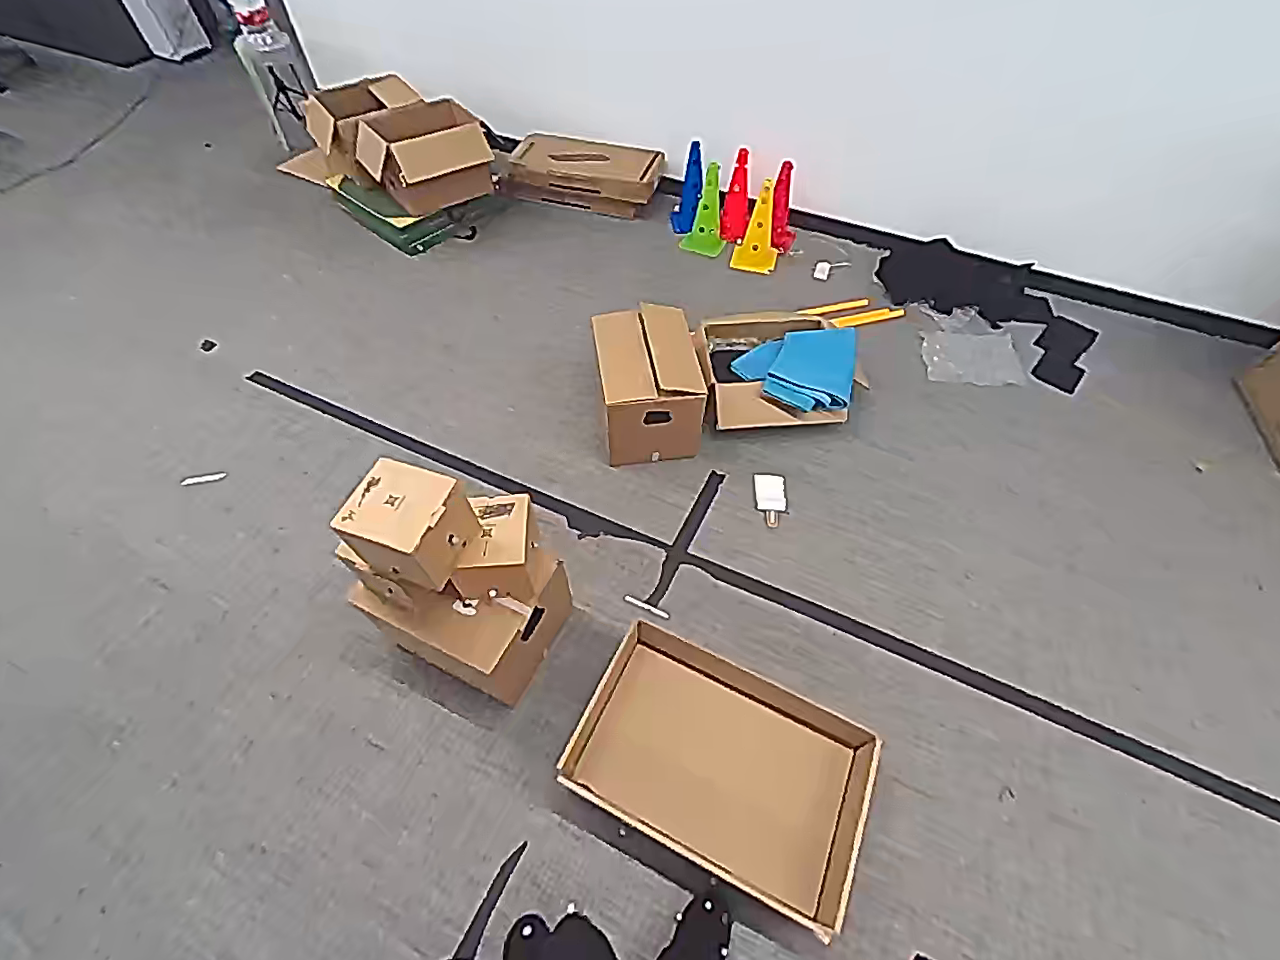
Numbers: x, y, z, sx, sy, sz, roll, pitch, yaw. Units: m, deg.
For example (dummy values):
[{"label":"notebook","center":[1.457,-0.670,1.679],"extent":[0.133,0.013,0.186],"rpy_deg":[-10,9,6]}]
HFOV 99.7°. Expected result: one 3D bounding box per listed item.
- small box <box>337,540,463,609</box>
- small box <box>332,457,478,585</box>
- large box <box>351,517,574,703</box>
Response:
[{"label":"small box","center":[-0.521,0.160,1.206],"extent":[0.168,0.176,0.179],"rpy_deg":[22,57,12]},{"label":"small box","center":[-0.444,0.087,1.057],"extent":[0.179,0.176,0.168],"rpy_deg":[16,57,11]},{"label":"large box","center":[-0.426,0.315,1.393],"extent":[0.408,0.320,0.320],"rpy_deg":[21,59,13]}]
